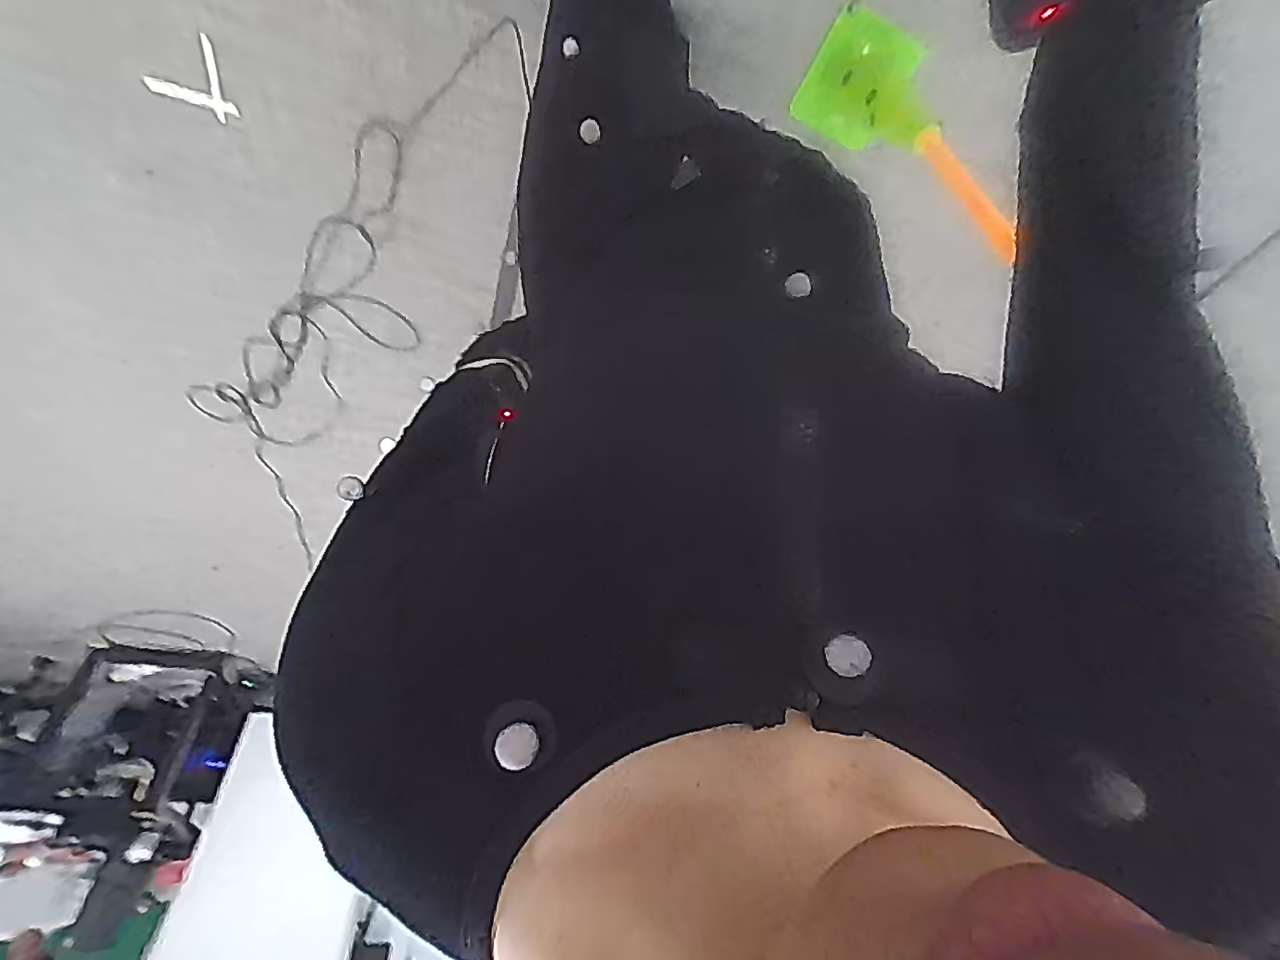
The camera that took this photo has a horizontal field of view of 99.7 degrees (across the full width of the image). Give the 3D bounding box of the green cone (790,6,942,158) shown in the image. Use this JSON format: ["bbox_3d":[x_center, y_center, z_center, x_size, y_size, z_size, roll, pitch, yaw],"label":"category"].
[{"bbox_3d":[0.444,-0.669,0.981,0.202,0.368,0.200,13,136,-21],"label":"green cone"}]
